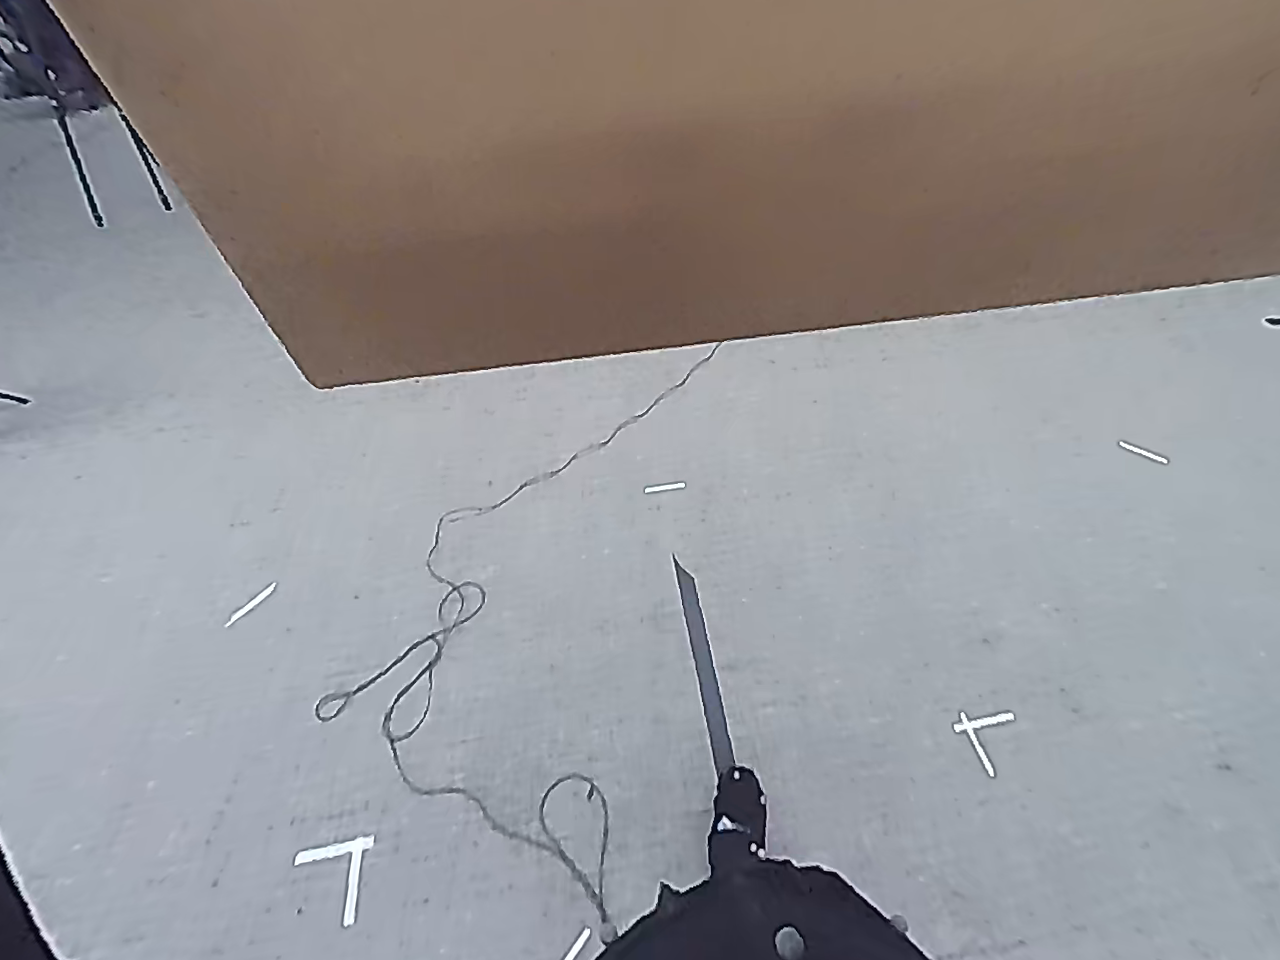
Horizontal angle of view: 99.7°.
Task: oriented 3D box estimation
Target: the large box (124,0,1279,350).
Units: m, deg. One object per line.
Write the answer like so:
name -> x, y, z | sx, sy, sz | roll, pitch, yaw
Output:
large box -> 0.042, -0.282, 0.213 | 0.408, 0.320, 0.320 | -7, 49, -1
